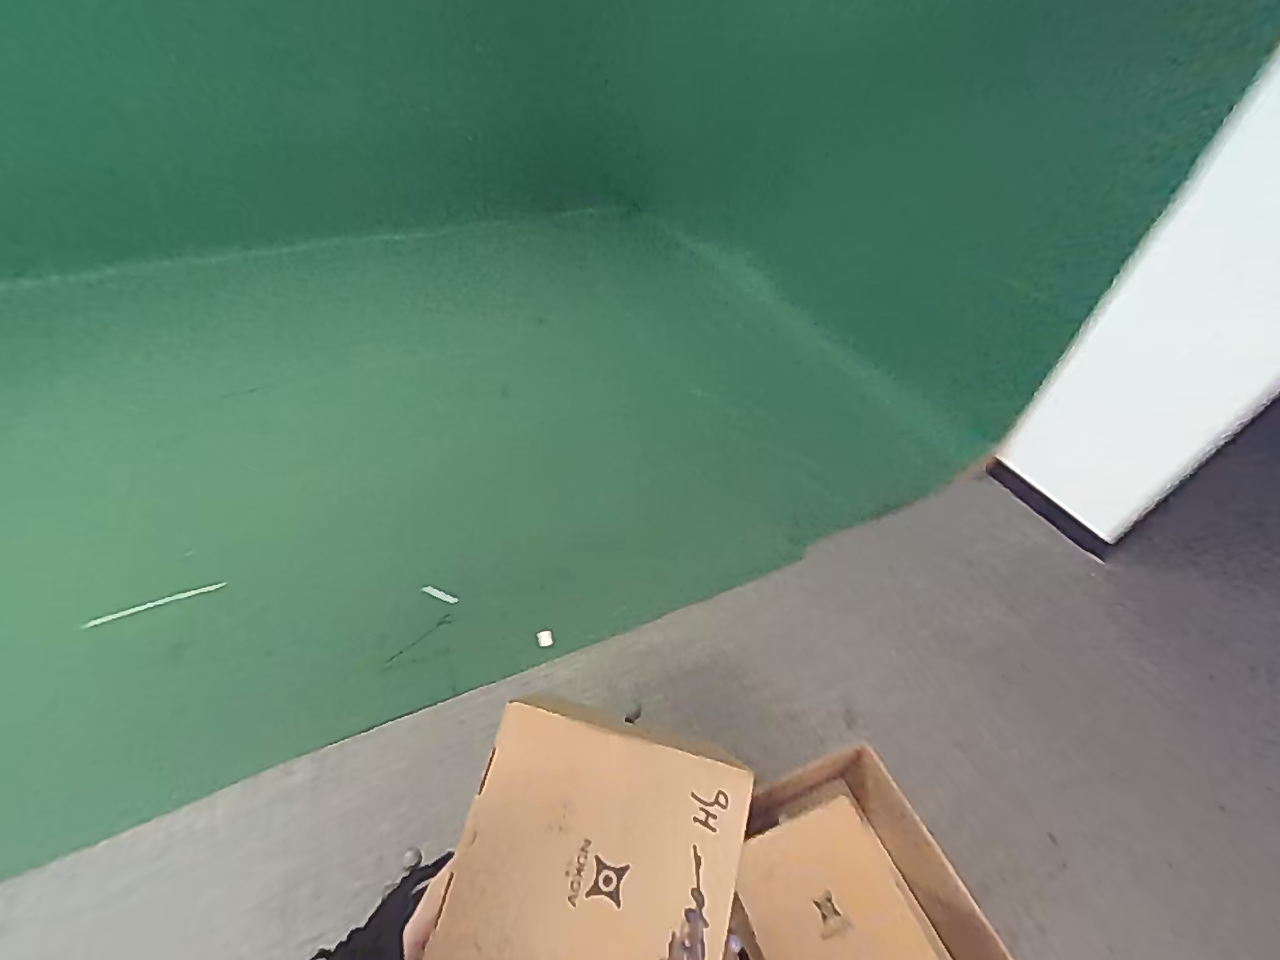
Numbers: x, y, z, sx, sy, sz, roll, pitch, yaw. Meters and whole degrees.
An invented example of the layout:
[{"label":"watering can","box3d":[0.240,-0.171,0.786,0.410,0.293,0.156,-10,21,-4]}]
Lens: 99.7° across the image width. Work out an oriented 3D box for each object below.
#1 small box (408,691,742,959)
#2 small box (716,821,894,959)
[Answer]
[{"label":"small box","box3d":[-0.036,0.271,0.414,0.179,0.176,0.168,14,69,4]},{"label":"small box","box3d":[0.206,0.609,0.739,0.168,0.176,0.179,-15,50,-14]}]
